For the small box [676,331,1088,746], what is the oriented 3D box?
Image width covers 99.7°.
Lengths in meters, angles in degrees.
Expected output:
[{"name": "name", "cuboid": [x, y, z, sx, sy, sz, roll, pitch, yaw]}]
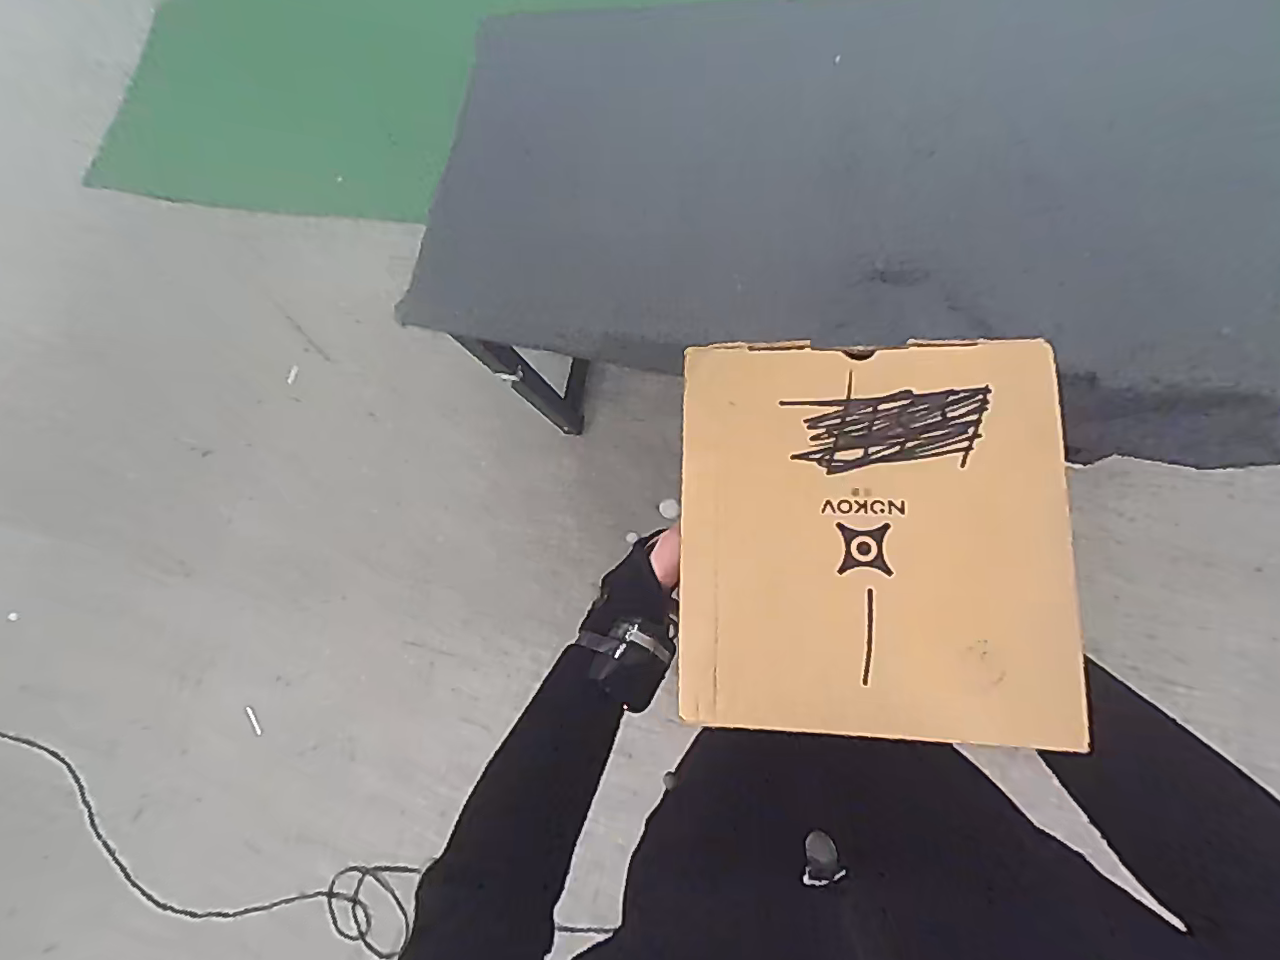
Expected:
[{"name": "small box", "cuboid": [0.109, 0.030, 0.315, 0.168, 0.176, 0.179, 1, 82, 8]}]
